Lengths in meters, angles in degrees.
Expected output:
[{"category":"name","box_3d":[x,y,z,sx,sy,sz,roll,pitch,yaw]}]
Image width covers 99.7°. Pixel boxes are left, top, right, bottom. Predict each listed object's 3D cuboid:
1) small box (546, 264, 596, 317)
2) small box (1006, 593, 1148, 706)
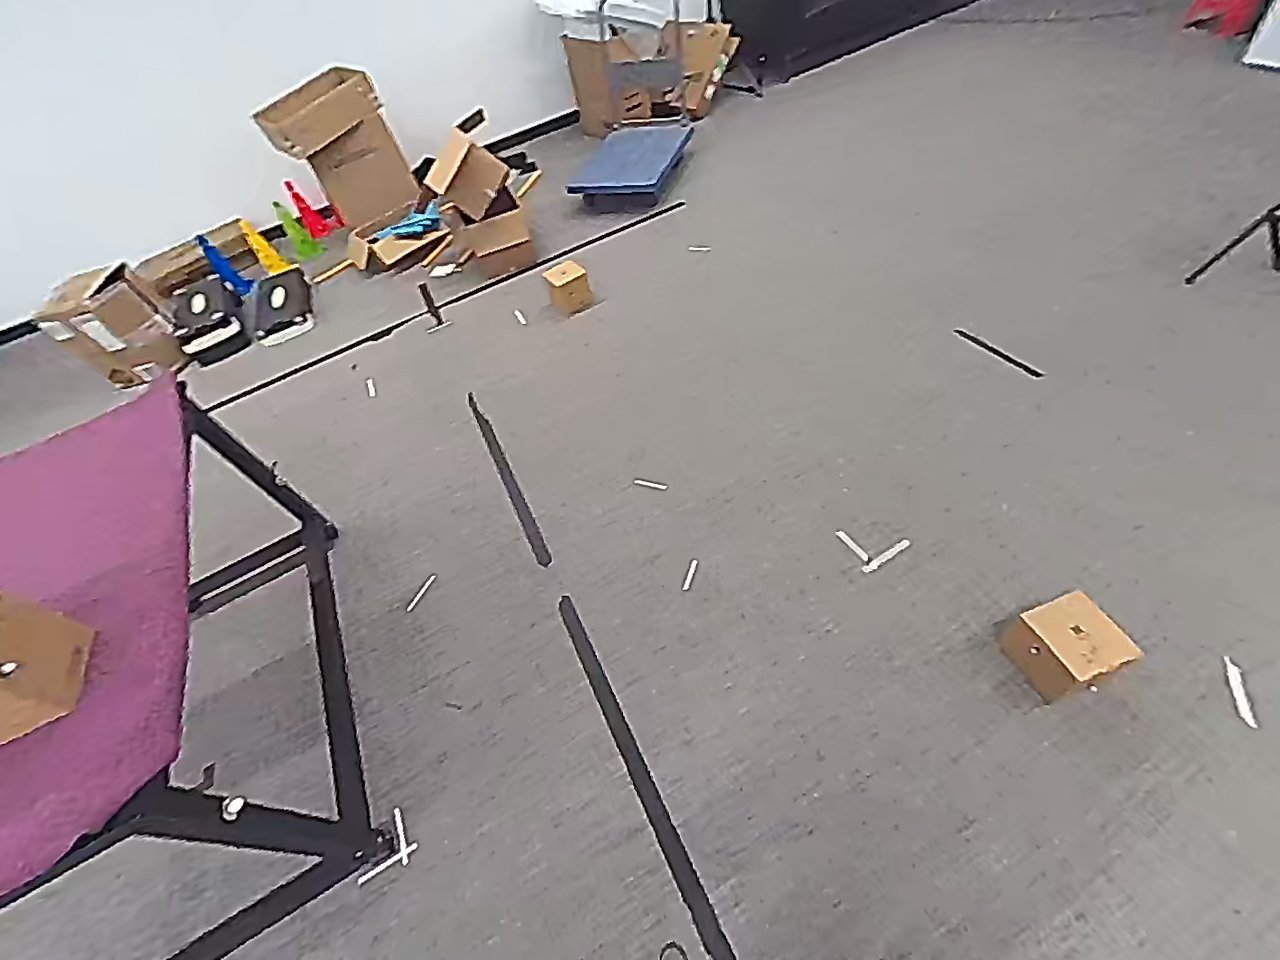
[{"category":"small box","box_3d":[-0.343,-0.948,2.718,0.168,0.176,0.179,-33,51,-14]},{"category":"small box","box_3d":[1.022,0.405,1.287,0.168,0.176,0.179,-21,50,-3]}]
